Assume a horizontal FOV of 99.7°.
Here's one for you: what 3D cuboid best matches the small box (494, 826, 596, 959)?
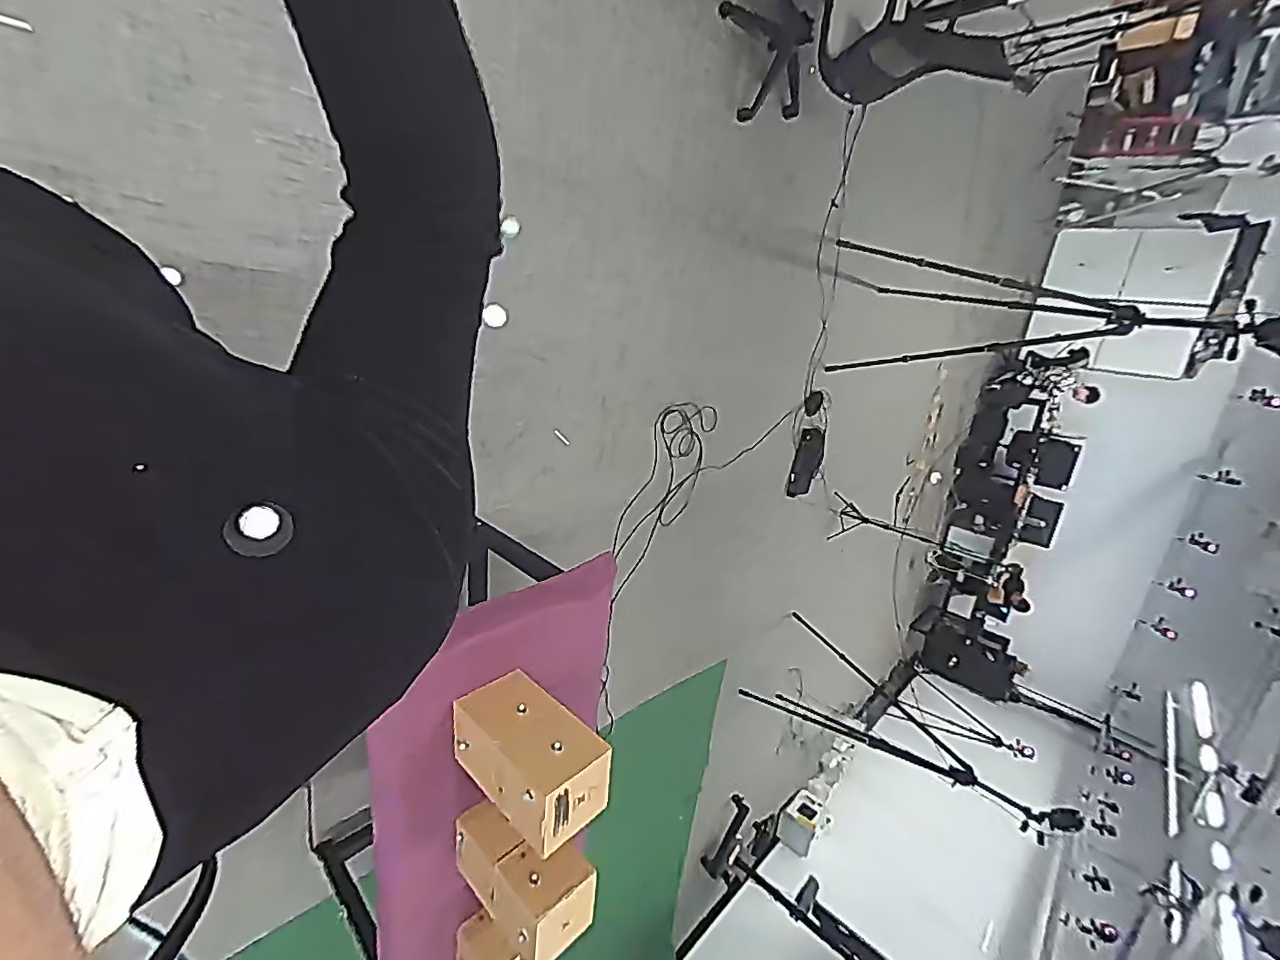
[{"bbox_3d":[-0.220,0.939,1.239,0.168,0.176,0.179,-12,116,-44],"label":"small box"}]

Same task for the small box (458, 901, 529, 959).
[{"bbox_3d":[-0.377,1.265,1.459,0.168,0.176,0.179,-11,114,-46],"label":"small box"}]

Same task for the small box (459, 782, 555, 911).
[{"bbox_3d":[-0.335,0.894,1.345,0.179,0.176,0.168,-14,116,-46],"label":"small box"}]

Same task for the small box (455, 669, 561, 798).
[{"bbox_3d":[-0.302,0.566,1.235,0.179,0.176,0.168,-14,117,-45],"label":"small box"}]
